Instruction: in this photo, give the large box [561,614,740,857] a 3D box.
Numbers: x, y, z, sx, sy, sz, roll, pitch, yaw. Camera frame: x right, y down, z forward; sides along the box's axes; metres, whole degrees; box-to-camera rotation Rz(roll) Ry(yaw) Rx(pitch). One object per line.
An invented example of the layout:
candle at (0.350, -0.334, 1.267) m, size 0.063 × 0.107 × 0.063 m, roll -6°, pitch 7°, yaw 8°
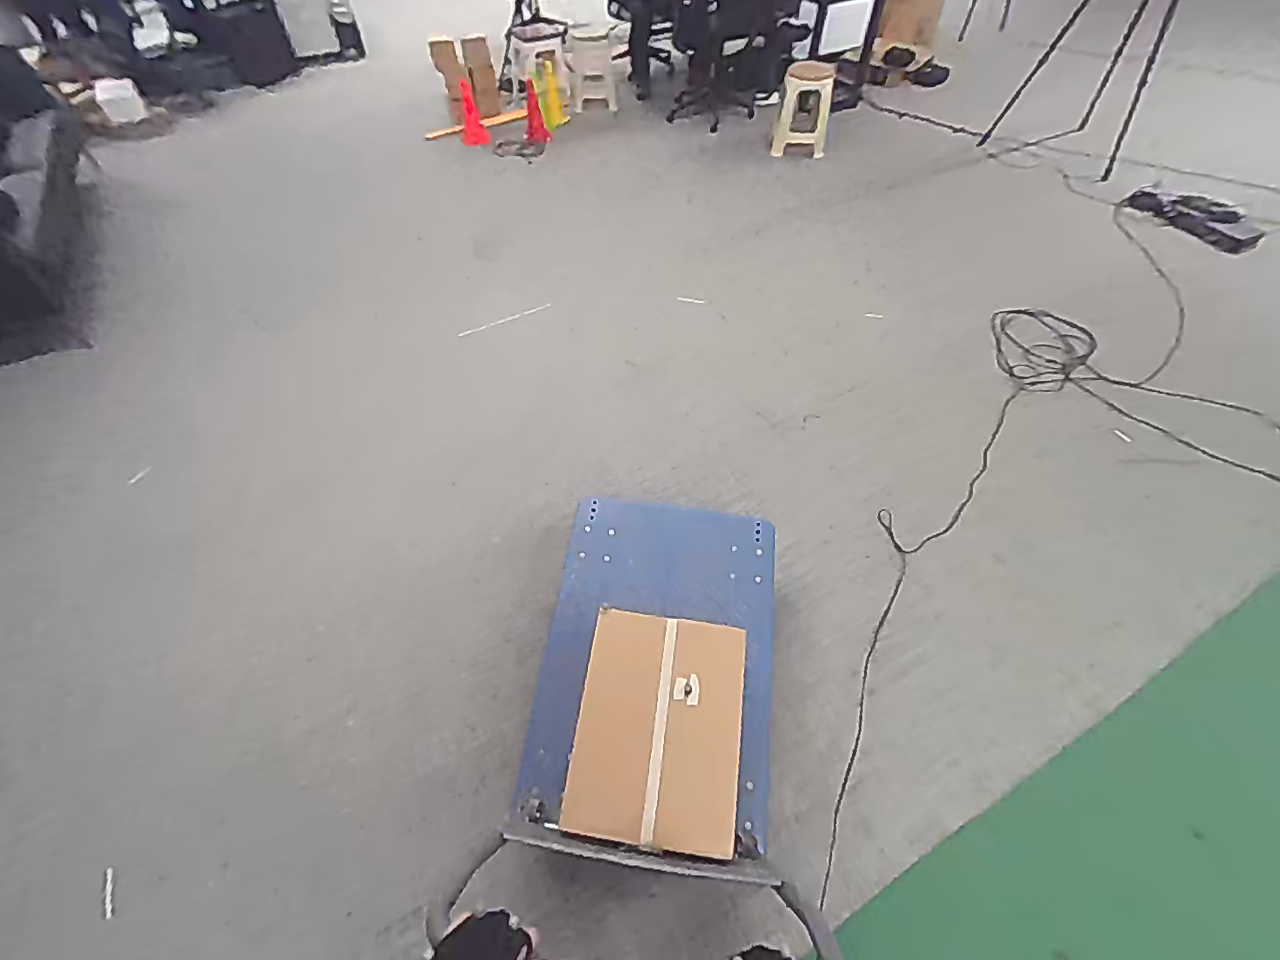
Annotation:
large box at (0.034, 0.552, 1.186) m, size 0.320 × 0.320 × 0.408 m, roll 8°, pitch 60°, yaw 4°
